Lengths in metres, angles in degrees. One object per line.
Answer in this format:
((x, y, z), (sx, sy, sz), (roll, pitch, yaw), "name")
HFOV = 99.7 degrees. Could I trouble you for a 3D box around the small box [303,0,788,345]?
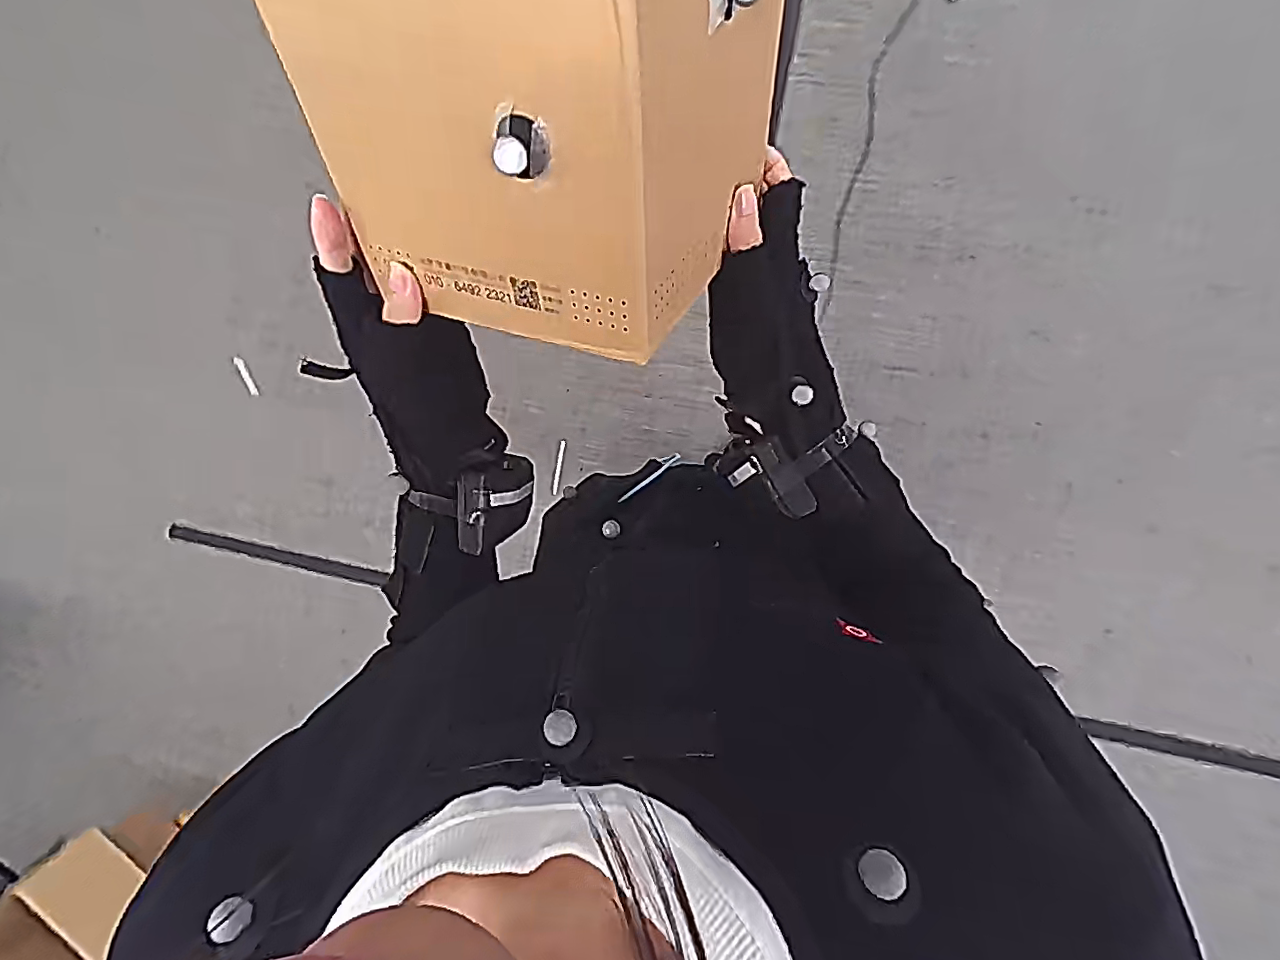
((-0.027, -0.196, 0.285), (0.168, 0.176, 0.179), (19, 52, 18), "small box")
